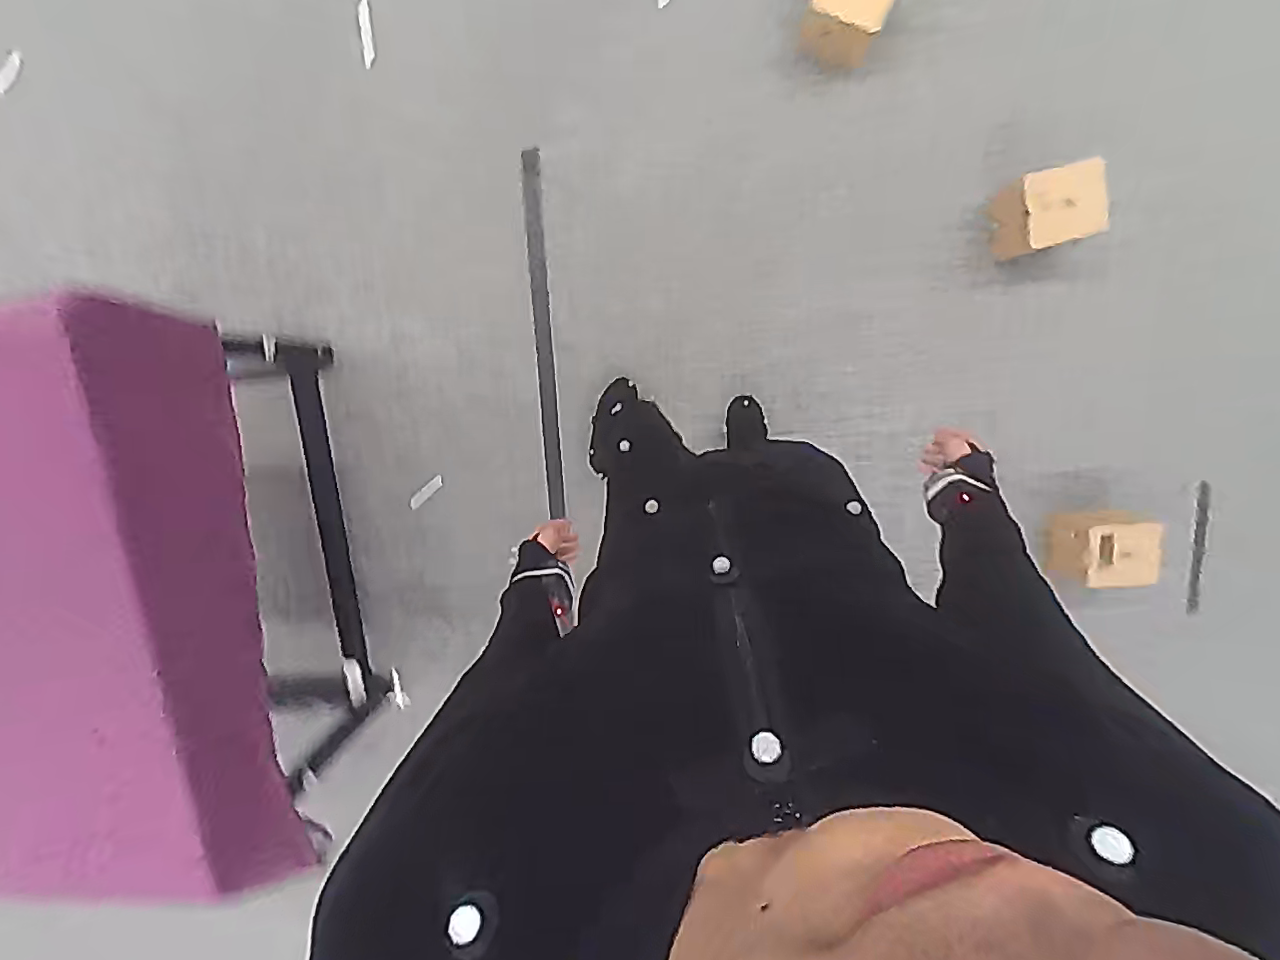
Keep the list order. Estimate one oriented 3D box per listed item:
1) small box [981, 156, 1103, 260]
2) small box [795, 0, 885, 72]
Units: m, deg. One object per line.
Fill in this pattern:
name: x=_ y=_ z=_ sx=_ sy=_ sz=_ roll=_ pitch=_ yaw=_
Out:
small box: x=0.984 y=-0.660 z=1.333 sx=0.179 sy=0.176 sz=0.168 roll=-13 pitch=100 yaw=8
small box: x=0.483 y=-1.125 z=1.284 sx=0.168 sy=0.176 sz=0.179 roll=22 pitch=102 yaw=0
